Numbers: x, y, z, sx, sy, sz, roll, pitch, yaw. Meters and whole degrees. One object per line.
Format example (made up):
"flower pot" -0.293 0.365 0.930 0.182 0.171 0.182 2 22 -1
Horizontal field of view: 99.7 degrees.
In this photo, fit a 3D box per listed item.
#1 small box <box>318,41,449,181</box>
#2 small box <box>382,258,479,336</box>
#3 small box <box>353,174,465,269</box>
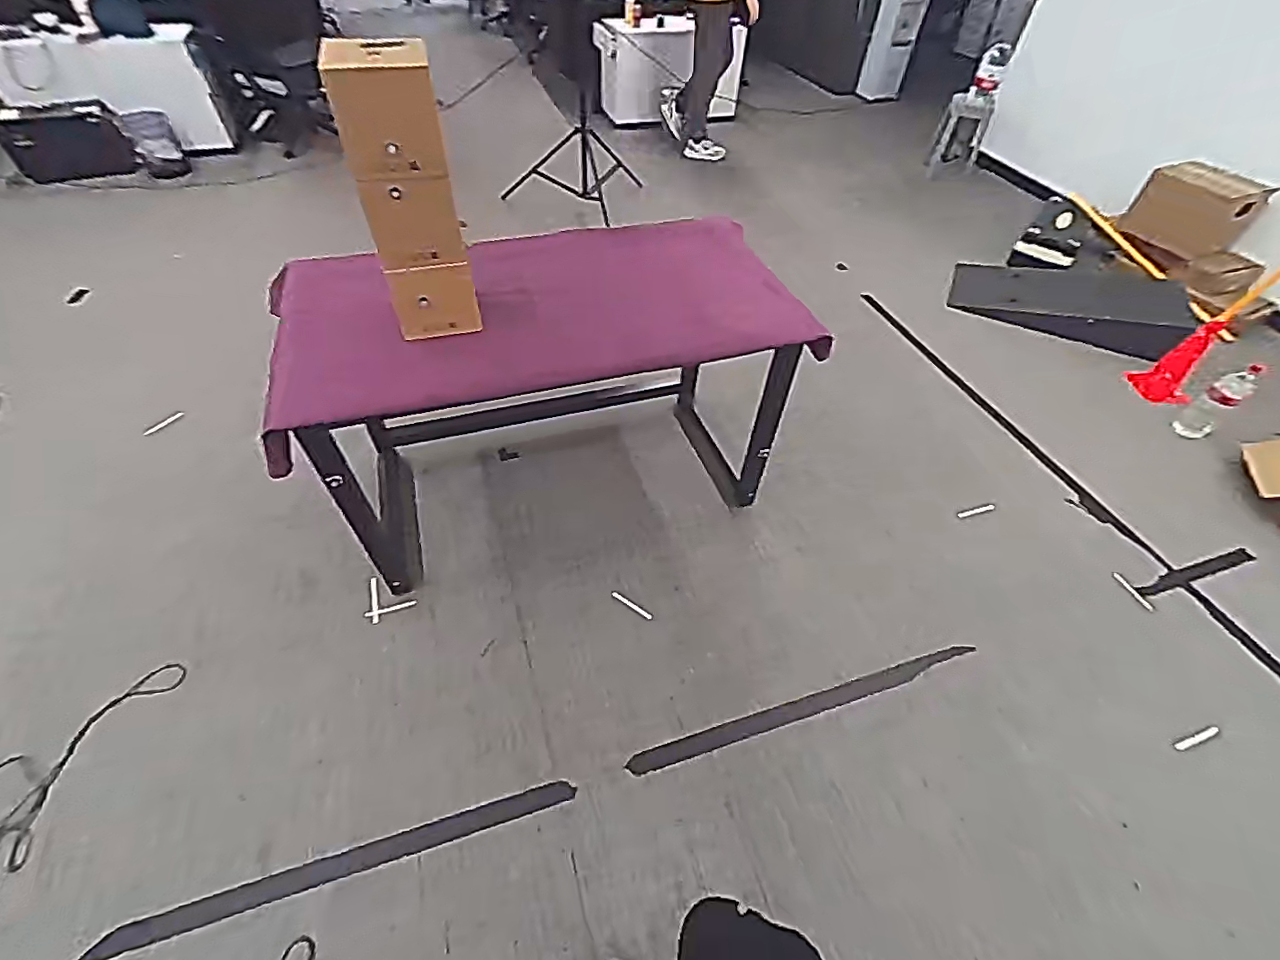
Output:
"small box" -0.446 -0.653 0.960 0.168 0.176 0.179 -12 52 -13
"small box" -0.463 -0.437 1.206 0.168 0.176 0.179 -12 51 -13
"small box" -0.458 -0.547 1.085 0.168 0.176 0.179 -13 51 -13
